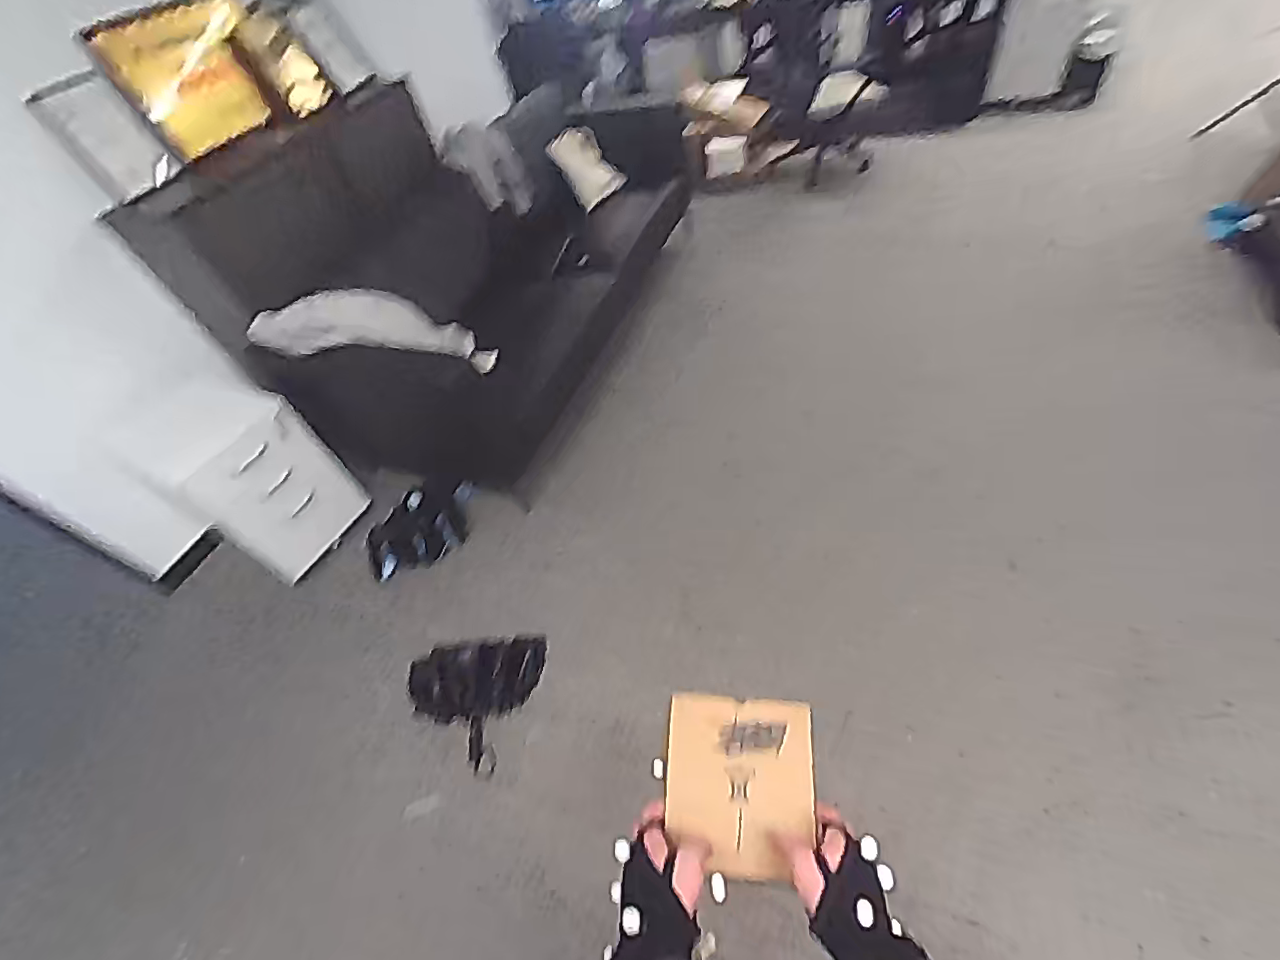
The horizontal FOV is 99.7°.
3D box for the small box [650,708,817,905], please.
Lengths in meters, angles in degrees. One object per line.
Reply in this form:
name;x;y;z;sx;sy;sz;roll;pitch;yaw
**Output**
small box;0.102;0.396;0.661;0.168;0.176;0.179;5;56;0
